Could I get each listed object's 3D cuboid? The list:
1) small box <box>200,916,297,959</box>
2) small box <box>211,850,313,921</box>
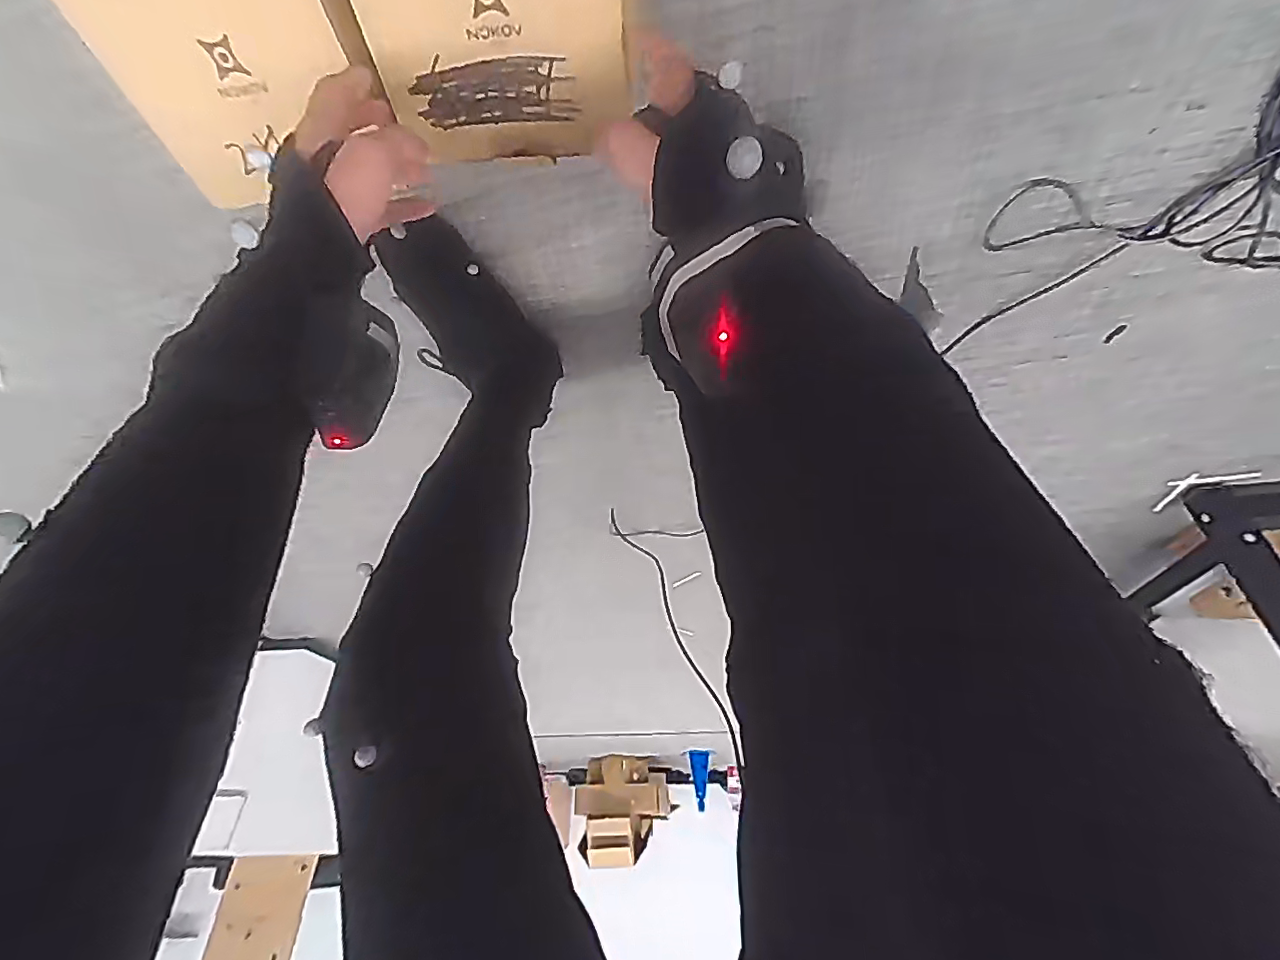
[{"bbox_3d":[-1.180,1.410,1.614,0.168,0.176,0.179,-5,147,11],"label":"small box"},{"bbox_3d":[-1.178,1.271,1.702,0.179,0.176,0.168,-3,146,7],"label":"small box"}]
